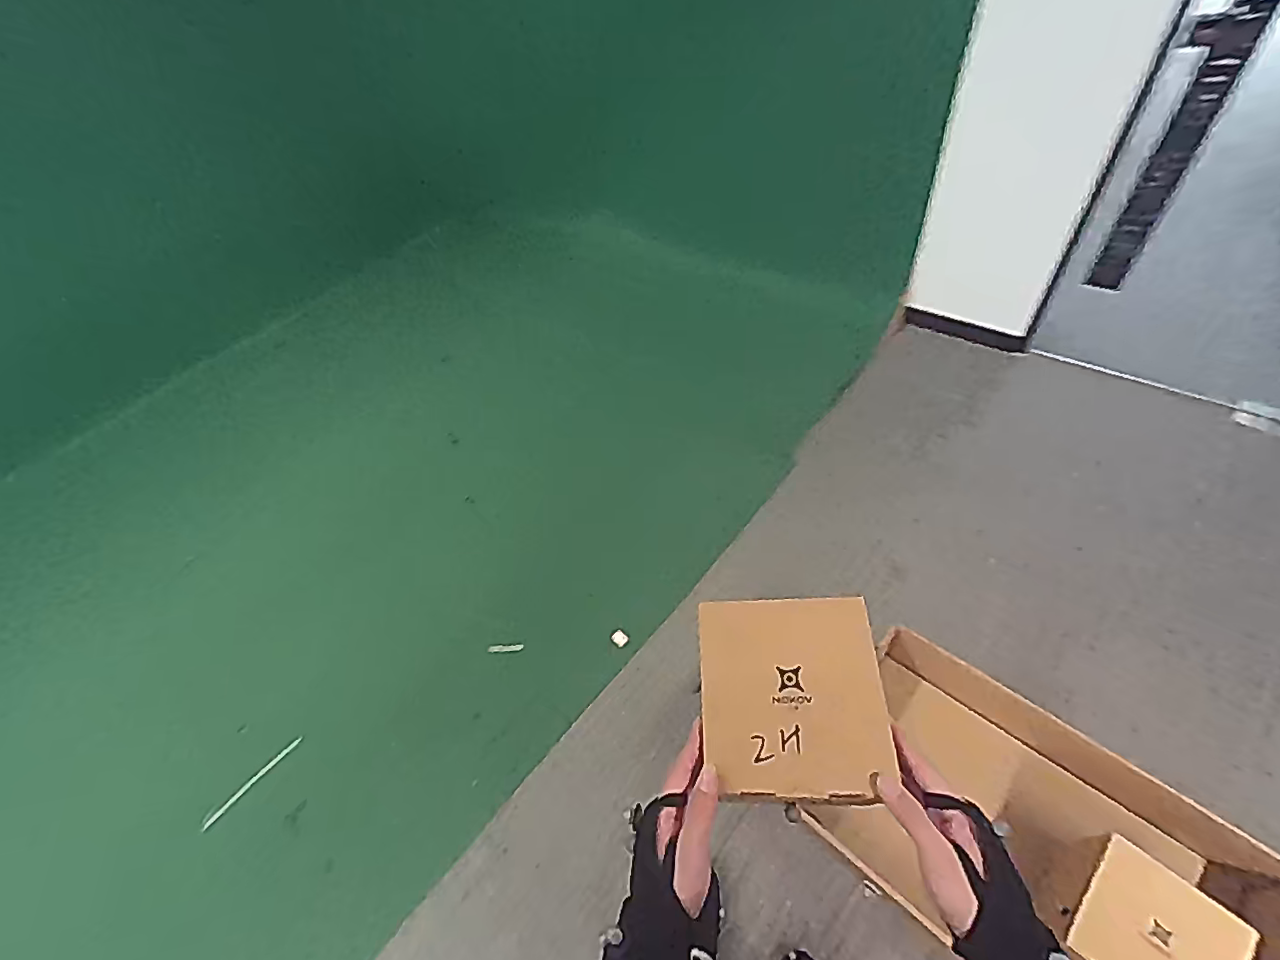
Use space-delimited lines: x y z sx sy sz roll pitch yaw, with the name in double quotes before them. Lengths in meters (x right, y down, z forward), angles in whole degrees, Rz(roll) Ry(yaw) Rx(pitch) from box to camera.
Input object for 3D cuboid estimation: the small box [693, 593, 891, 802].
"small box" 0.143 0.232 0.570 0.168 0.176 0.179 -4 58 8
